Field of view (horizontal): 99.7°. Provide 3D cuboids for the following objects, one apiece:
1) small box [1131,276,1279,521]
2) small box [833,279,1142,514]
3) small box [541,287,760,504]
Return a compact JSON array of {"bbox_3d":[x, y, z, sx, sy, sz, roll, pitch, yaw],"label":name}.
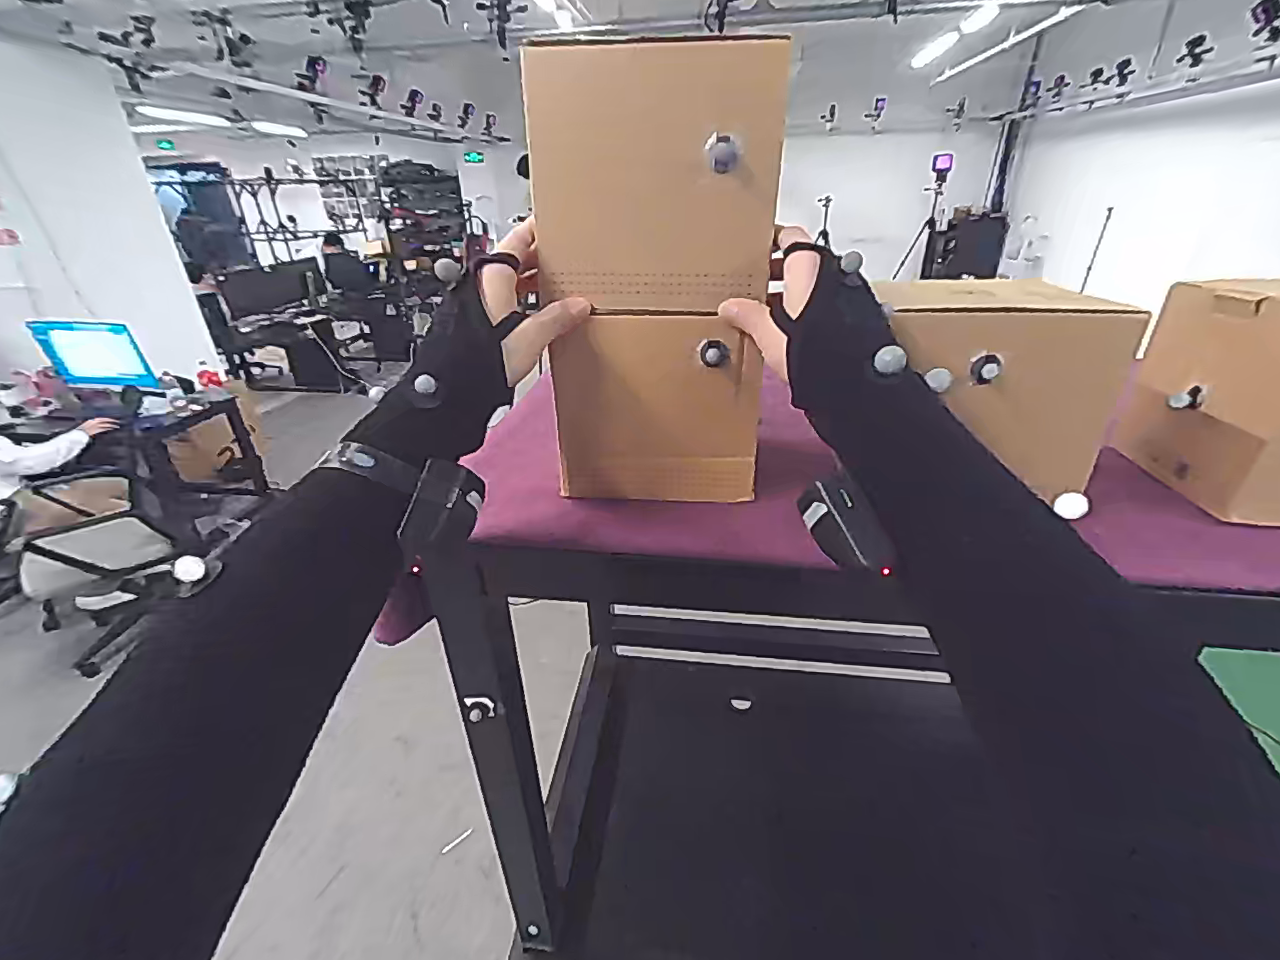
[{"bbox_3d":[0.558,-0.070,0.443,0.179,0.176,0.168,3,27,11],"label":"small box"},{"bbox_3d":[0.277,-0.081,0.487,0.179,0.176,0.168,3,28,10],"label":"small box"},{"bbox_3d":[0.017,-0.086,0.524,0.179,0.176,0.168,1,27,5],"label":"small box"}]
